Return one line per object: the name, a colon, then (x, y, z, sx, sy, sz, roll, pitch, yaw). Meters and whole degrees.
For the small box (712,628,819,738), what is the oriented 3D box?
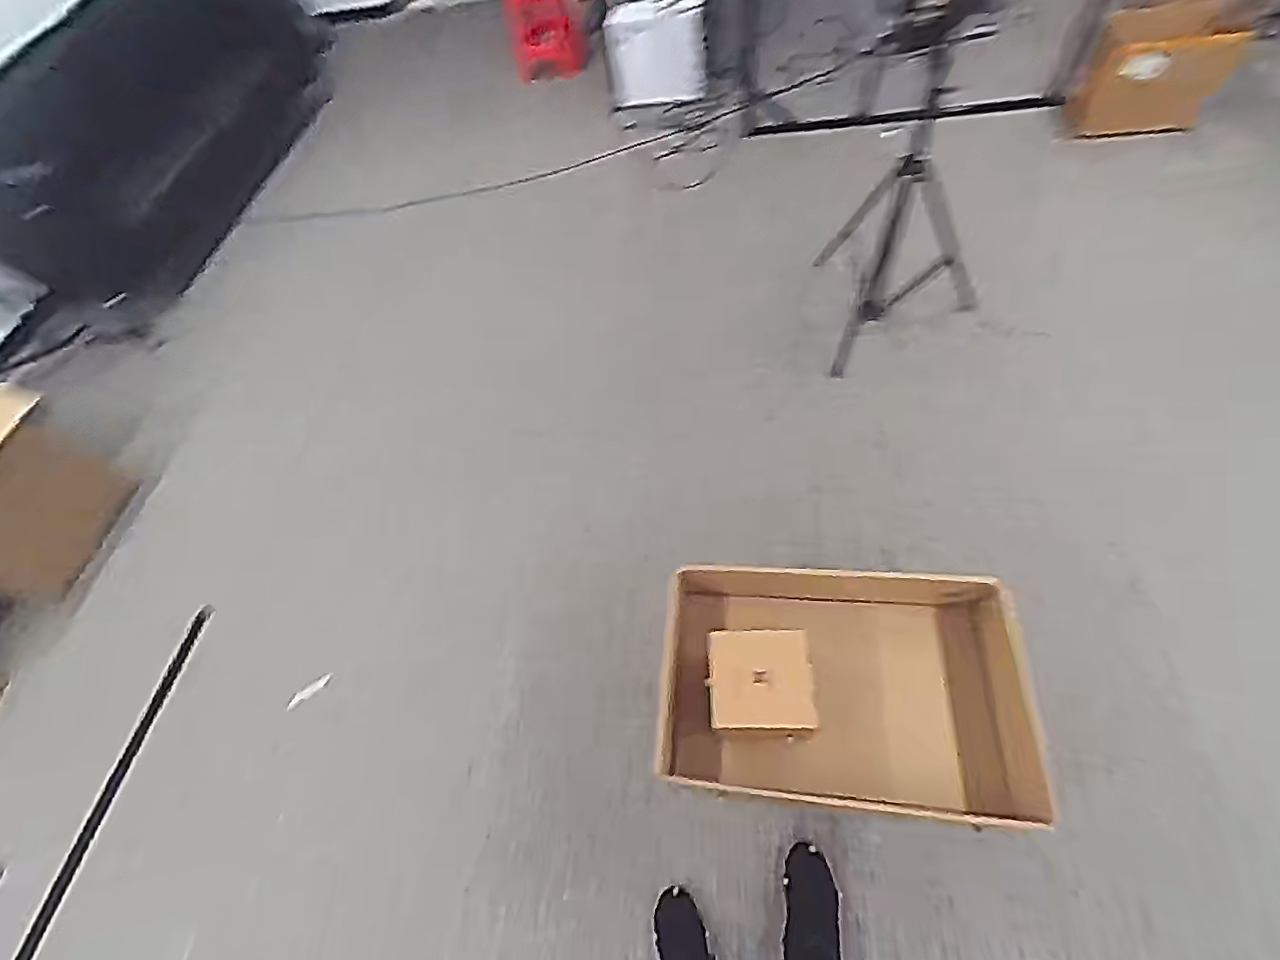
small box: (0.227, 0.383, 1.014, 0.179, 0.176, 0.168, -3, 58, 10)
